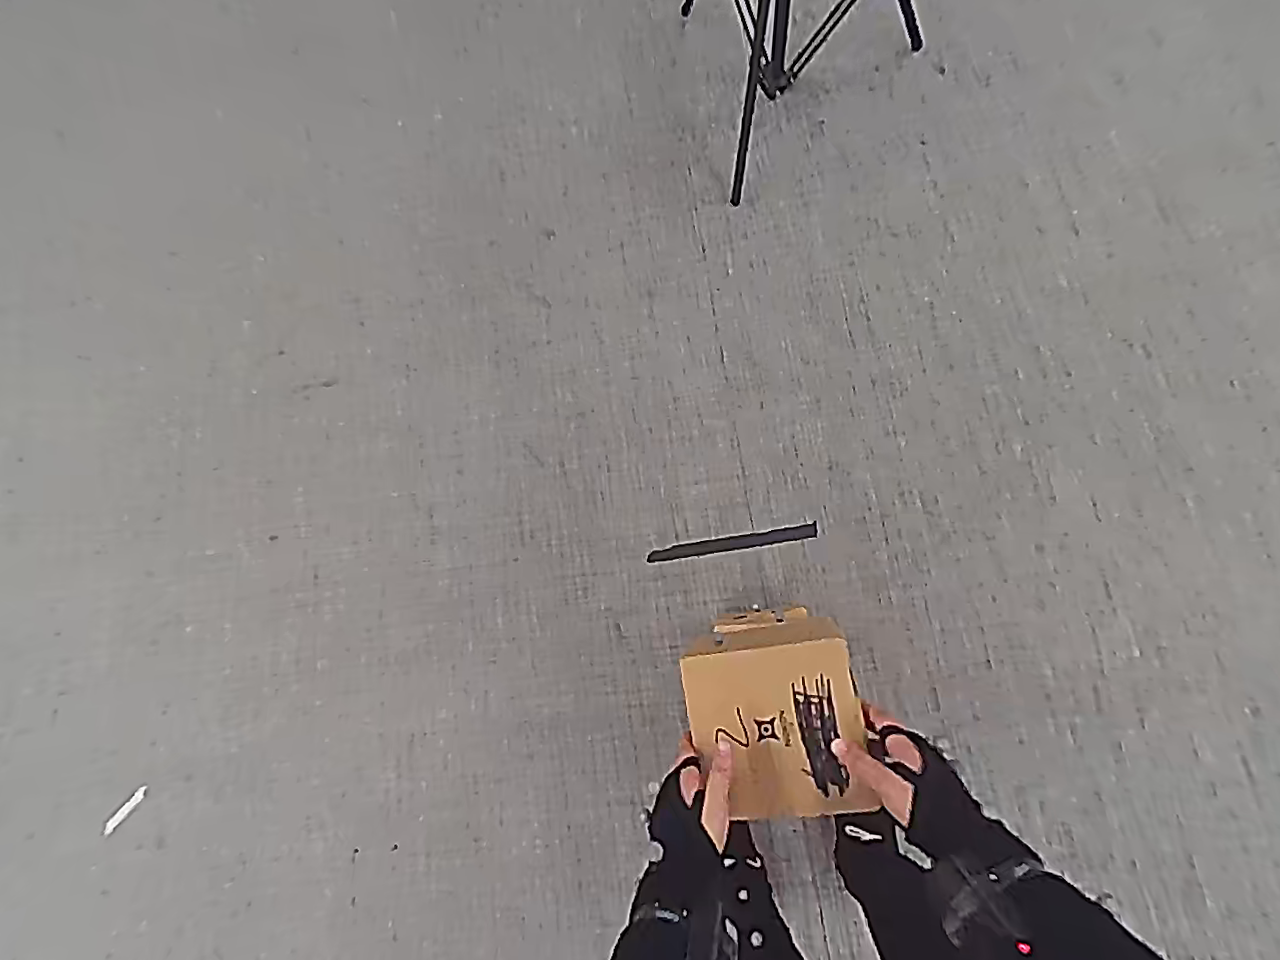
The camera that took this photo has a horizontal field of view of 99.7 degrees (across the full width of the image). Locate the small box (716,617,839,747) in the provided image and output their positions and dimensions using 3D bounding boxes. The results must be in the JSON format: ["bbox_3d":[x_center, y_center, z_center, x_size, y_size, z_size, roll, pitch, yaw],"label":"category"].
[{"bbox_3d":[0.209,0.311,0.864,0.168,0.176,0.179,-4,78,9],"label":"small box"}]

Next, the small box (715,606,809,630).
[{"bbox_3d":[0.241,0.338,1.022,0.168,0.176,0.179,-11,76,7],"label":"small box"}]
